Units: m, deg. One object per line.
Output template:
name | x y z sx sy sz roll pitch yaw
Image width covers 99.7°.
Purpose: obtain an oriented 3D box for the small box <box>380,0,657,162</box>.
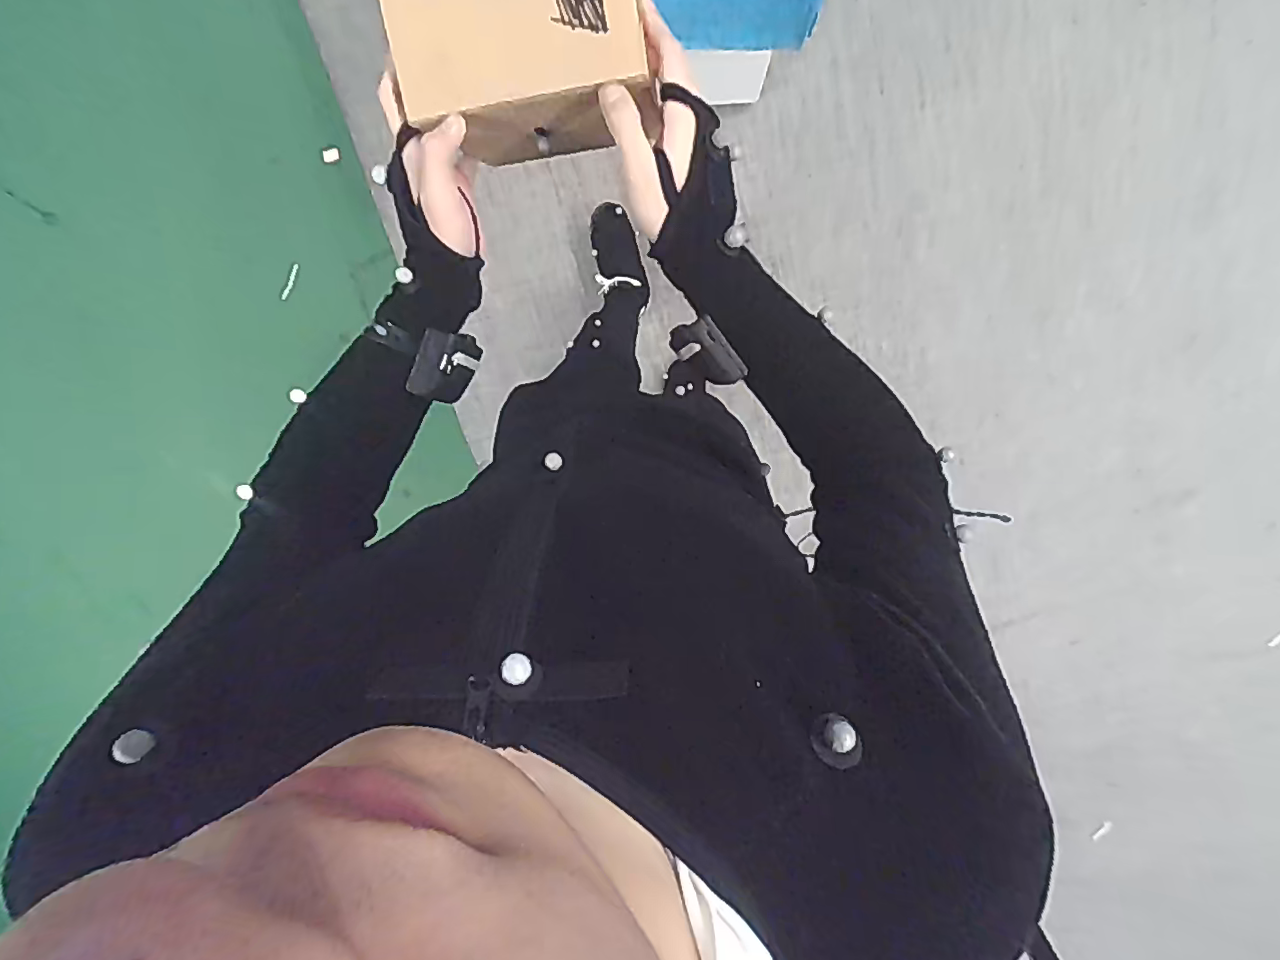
small box | -0.082 -0.367 0.421 0.179 0.176 0.168 -4 109 9
